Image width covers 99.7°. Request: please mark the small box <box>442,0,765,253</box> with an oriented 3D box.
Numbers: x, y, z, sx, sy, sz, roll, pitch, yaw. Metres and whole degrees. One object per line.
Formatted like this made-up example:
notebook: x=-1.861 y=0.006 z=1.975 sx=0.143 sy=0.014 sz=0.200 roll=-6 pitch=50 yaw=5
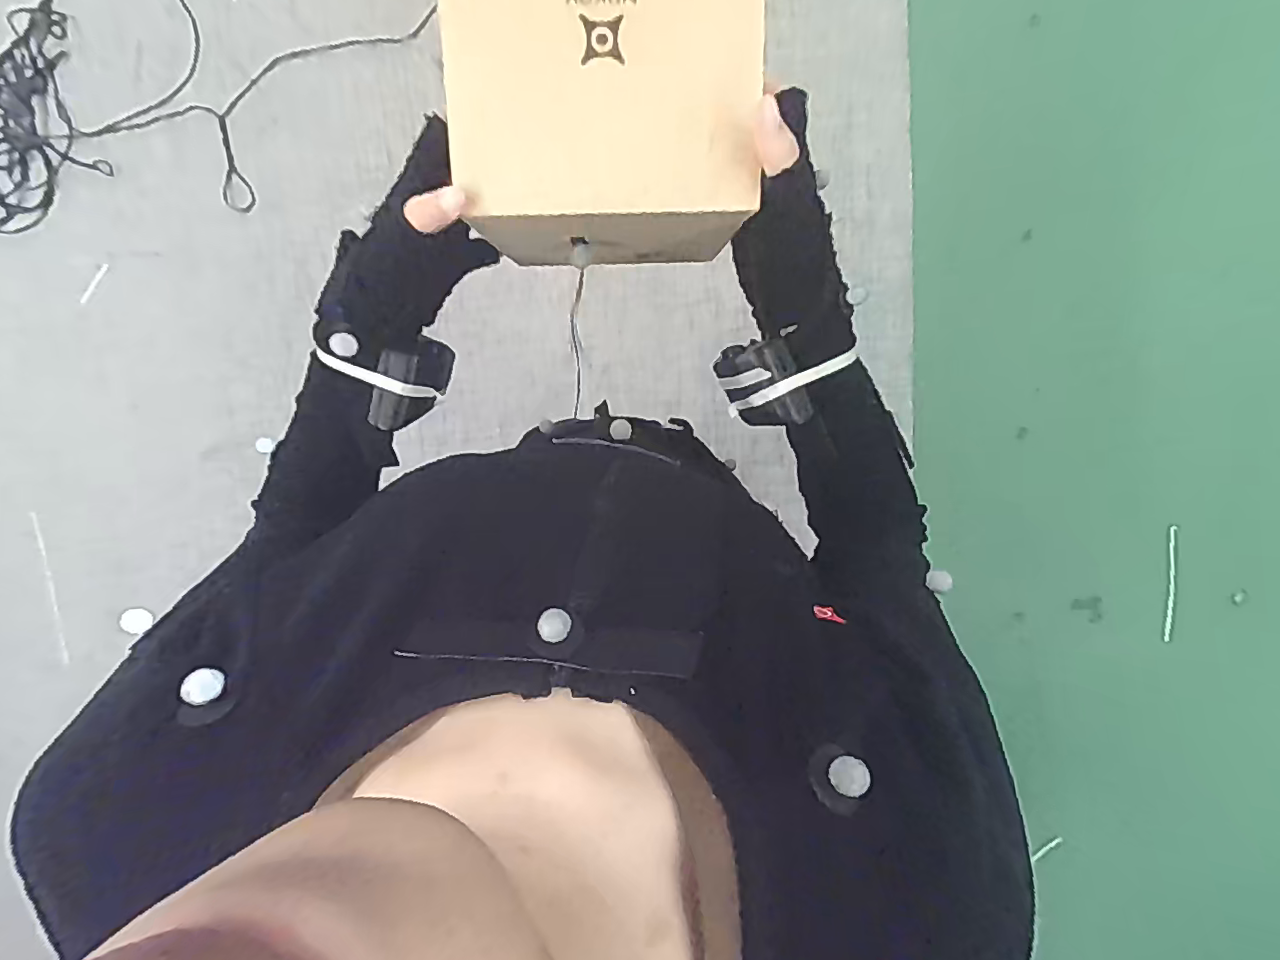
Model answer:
small box: x=-0.018 y=-0.253 z=0.352 sx=0.168 sy=0.176 sz=0.179 roll=-2 pitch=101 yaw=0
